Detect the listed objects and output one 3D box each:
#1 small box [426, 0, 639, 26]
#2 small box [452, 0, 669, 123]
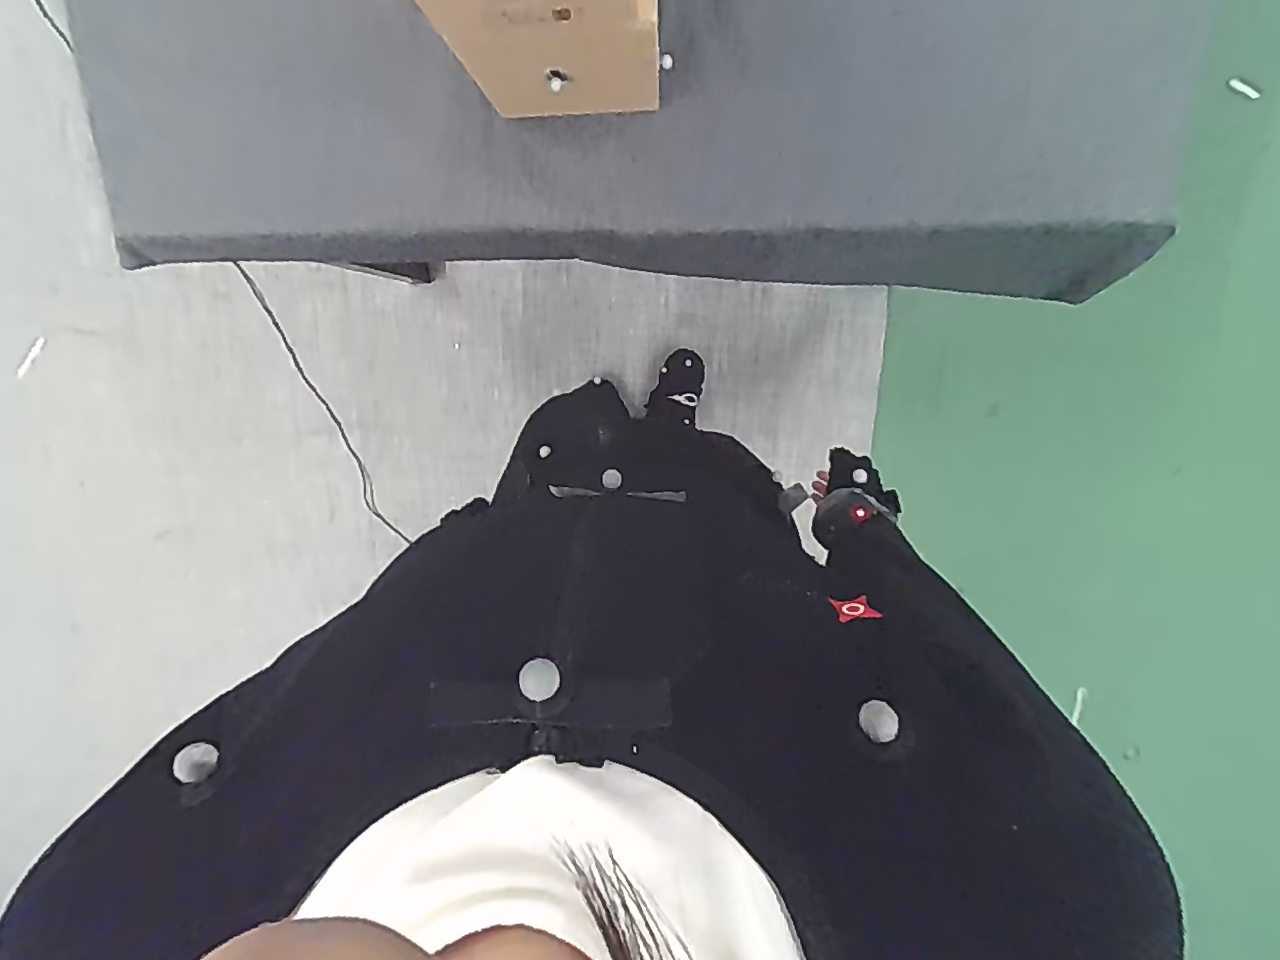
[{"bbox_3d":[-0.086,-0.421,0.334,0.168,0.176,0.179,0,104,3],"label":"small box"},{"bbox_3d":[-0.068,-0.454,0.493,0.179,0.176,0.168,-4,104,3],"label":"small box"}]
